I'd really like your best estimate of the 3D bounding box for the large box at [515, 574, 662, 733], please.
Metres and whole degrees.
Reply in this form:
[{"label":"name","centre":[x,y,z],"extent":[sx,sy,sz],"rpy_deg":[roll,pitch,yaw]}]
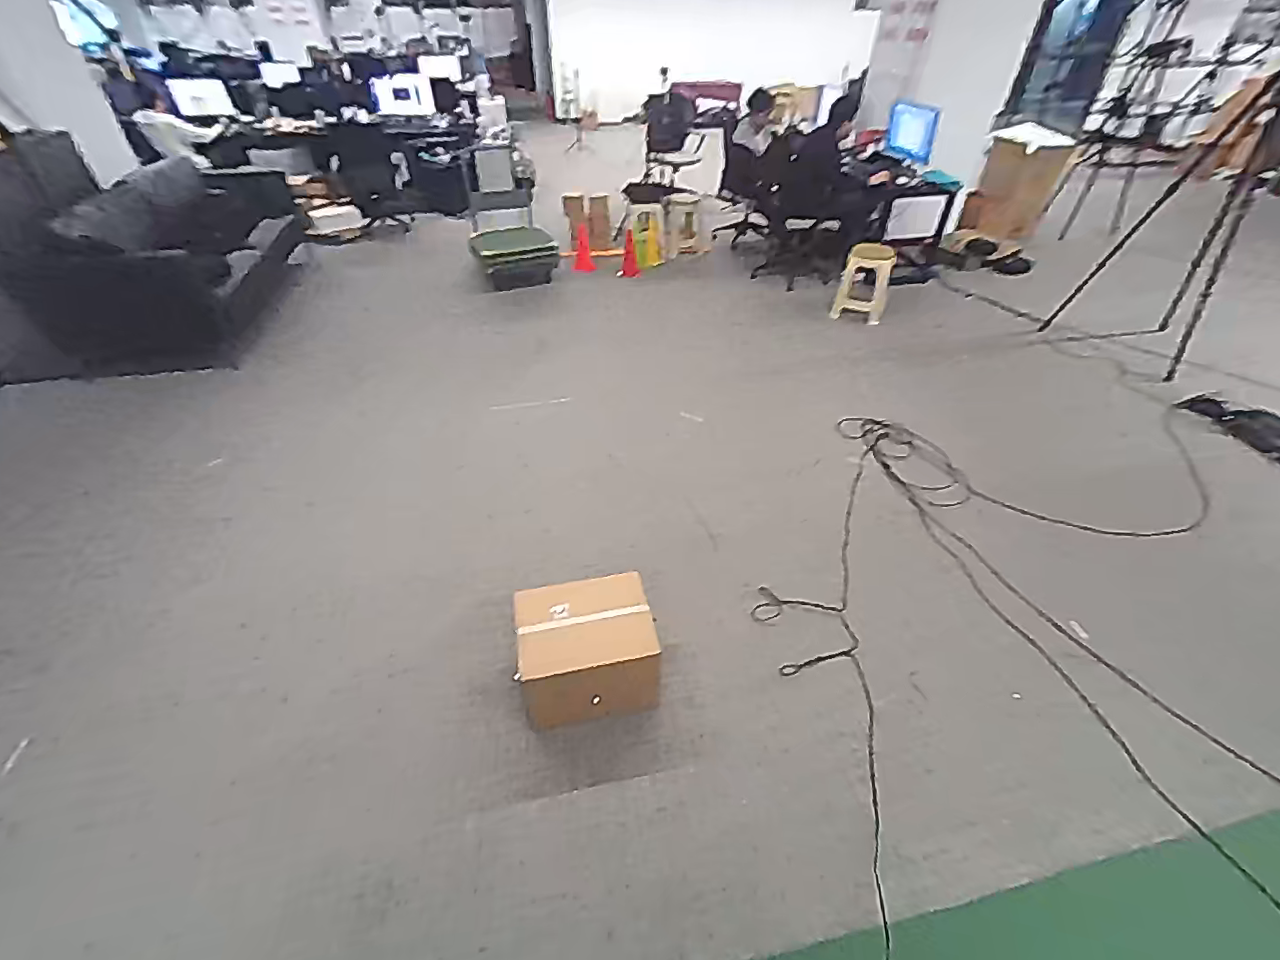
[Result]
[{"label":"large box","centre":[-0.163,0.550,1.723],"extent":[0.408,0.320,0.320],"rpy_deg":[-10,40,-10]}]
